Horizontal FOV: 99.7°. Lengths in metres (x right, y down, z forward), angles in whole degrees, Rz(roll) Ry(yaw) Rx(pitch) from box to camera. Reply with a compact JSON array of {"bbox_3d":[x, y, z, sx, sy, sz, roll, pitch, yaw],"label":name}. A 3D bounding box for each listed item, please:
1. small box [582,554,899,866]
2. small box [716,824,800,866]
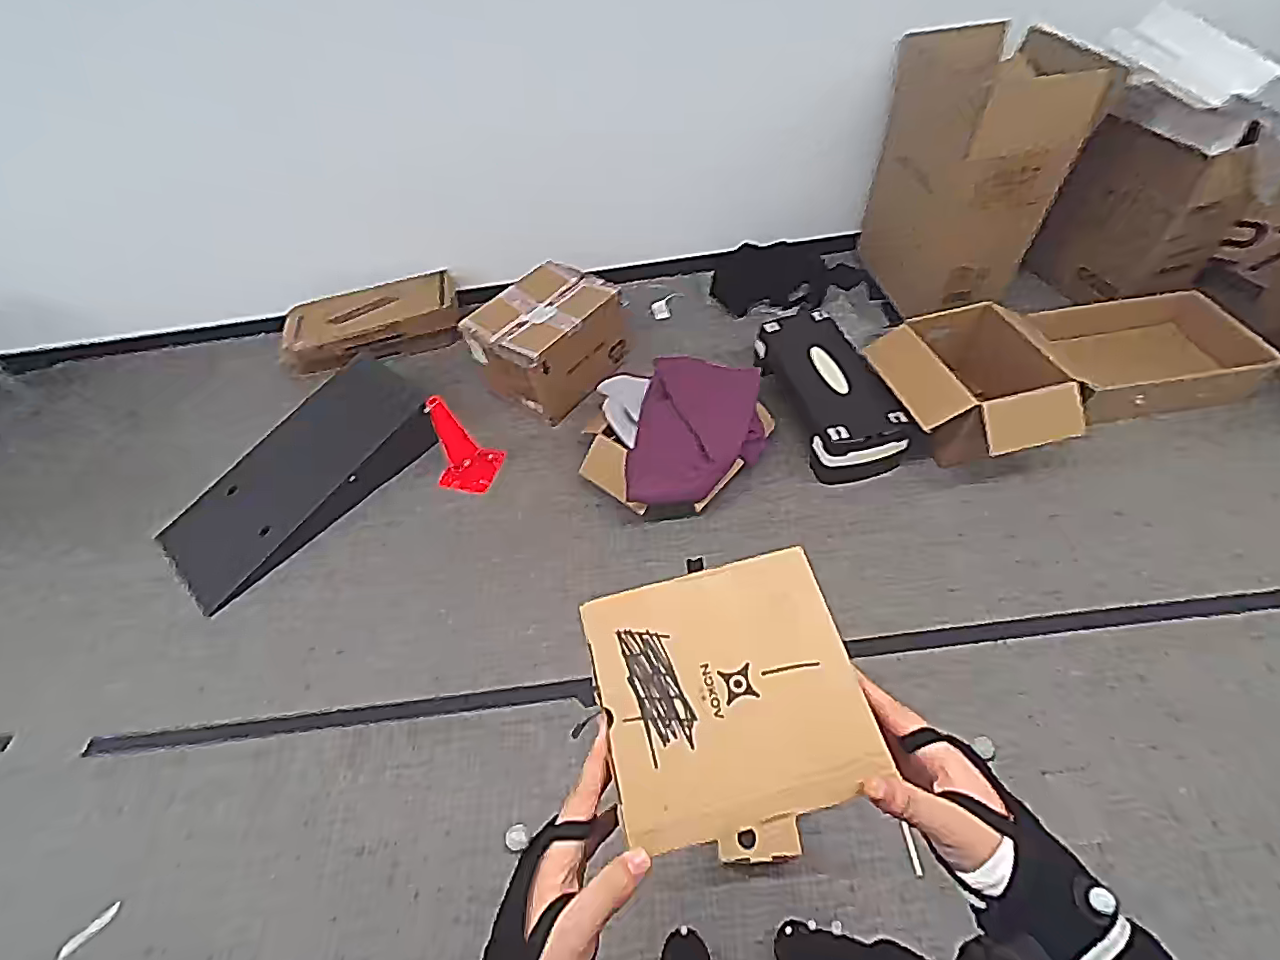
[{"bbox_3d":[0.066,0.183,0.434,0.179,0.176,0.168,-14,61,-3],"label":"small box"},{"bbox_3d":[0.243,0.735,1.184,0.168,0.176,0.179,-6,53,3],"label":"small box"}]
